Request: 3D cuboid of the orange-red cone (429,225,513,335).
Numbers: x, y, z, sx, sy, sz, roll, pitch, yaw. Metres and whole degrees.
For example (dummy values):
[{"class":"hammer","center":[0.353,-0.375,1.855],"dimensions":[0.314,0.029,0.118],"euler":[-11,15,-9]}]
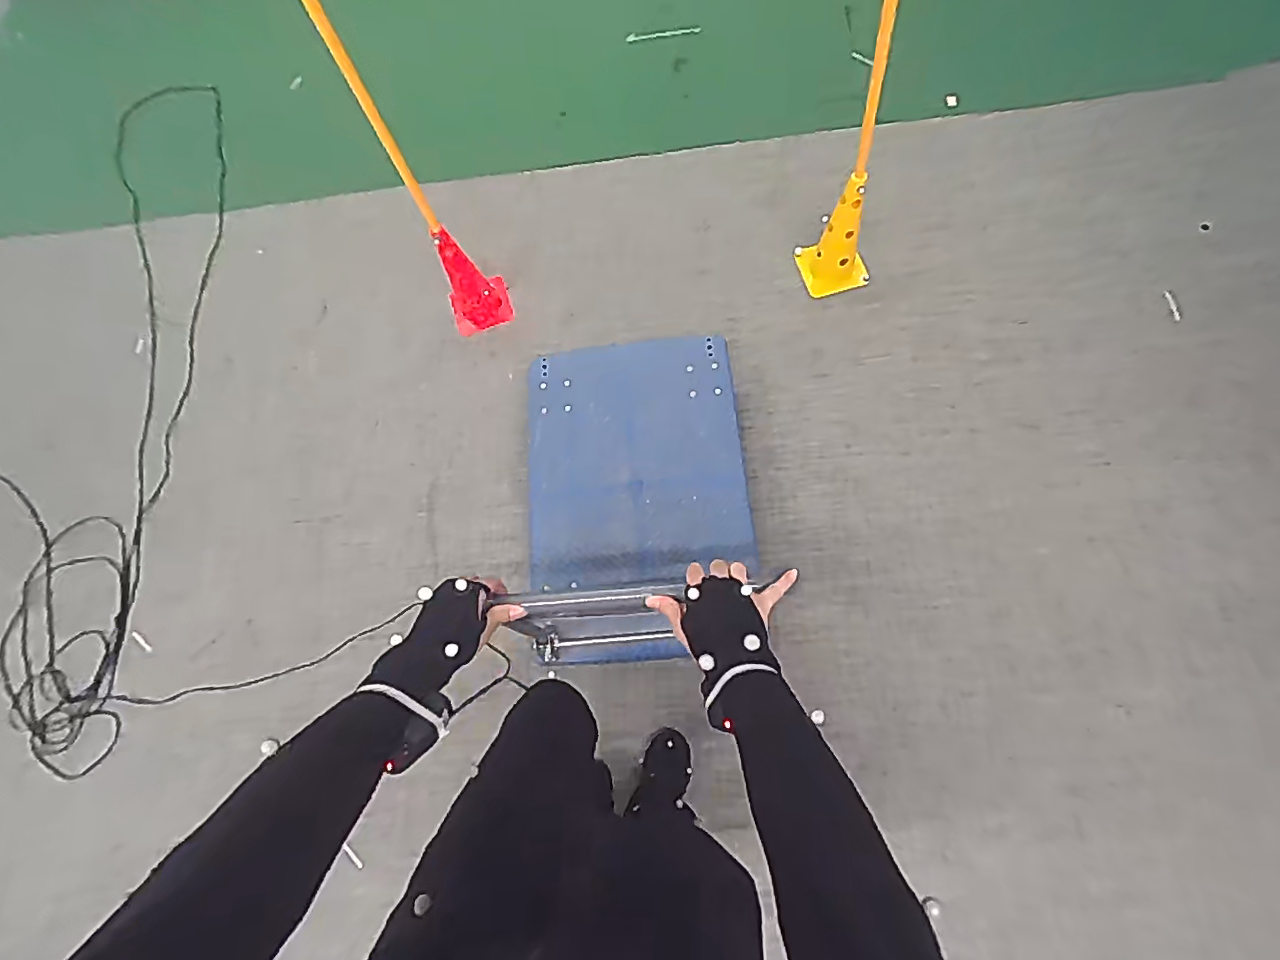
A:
[{"class":"orange-red cone","center":[-0.568,-0.658,1.711],"dimensions":[0.199,0.360,0.198],"euler":[-19,69,1]}]
